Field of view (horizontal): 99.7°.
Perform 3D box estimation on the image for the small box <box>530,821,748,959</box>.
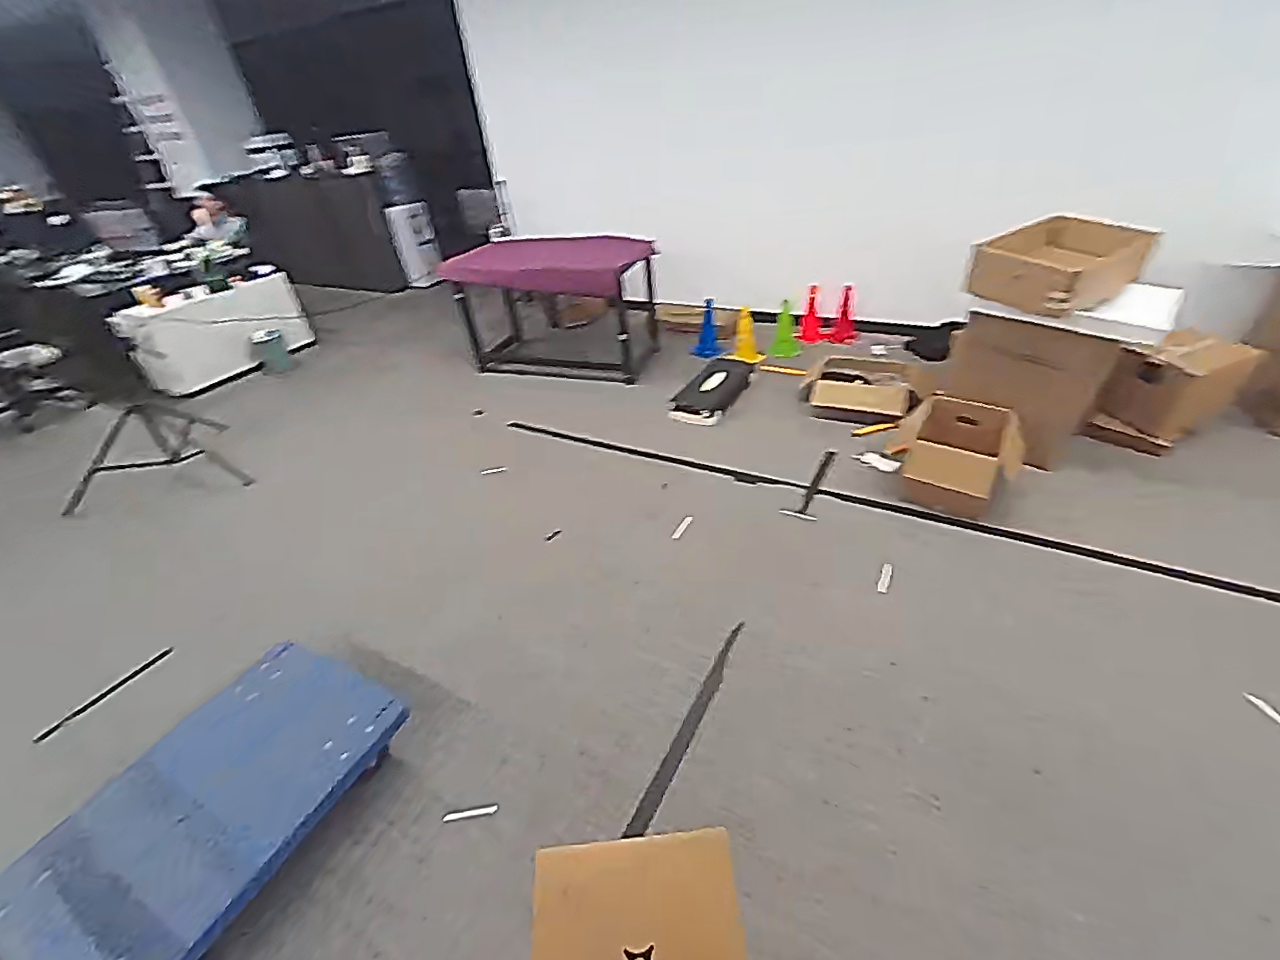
[{"bbox_3d":[0.004,0.417,0.457,0.168,0.176,0.179,-8,47,-2],"label":"small box"}]
